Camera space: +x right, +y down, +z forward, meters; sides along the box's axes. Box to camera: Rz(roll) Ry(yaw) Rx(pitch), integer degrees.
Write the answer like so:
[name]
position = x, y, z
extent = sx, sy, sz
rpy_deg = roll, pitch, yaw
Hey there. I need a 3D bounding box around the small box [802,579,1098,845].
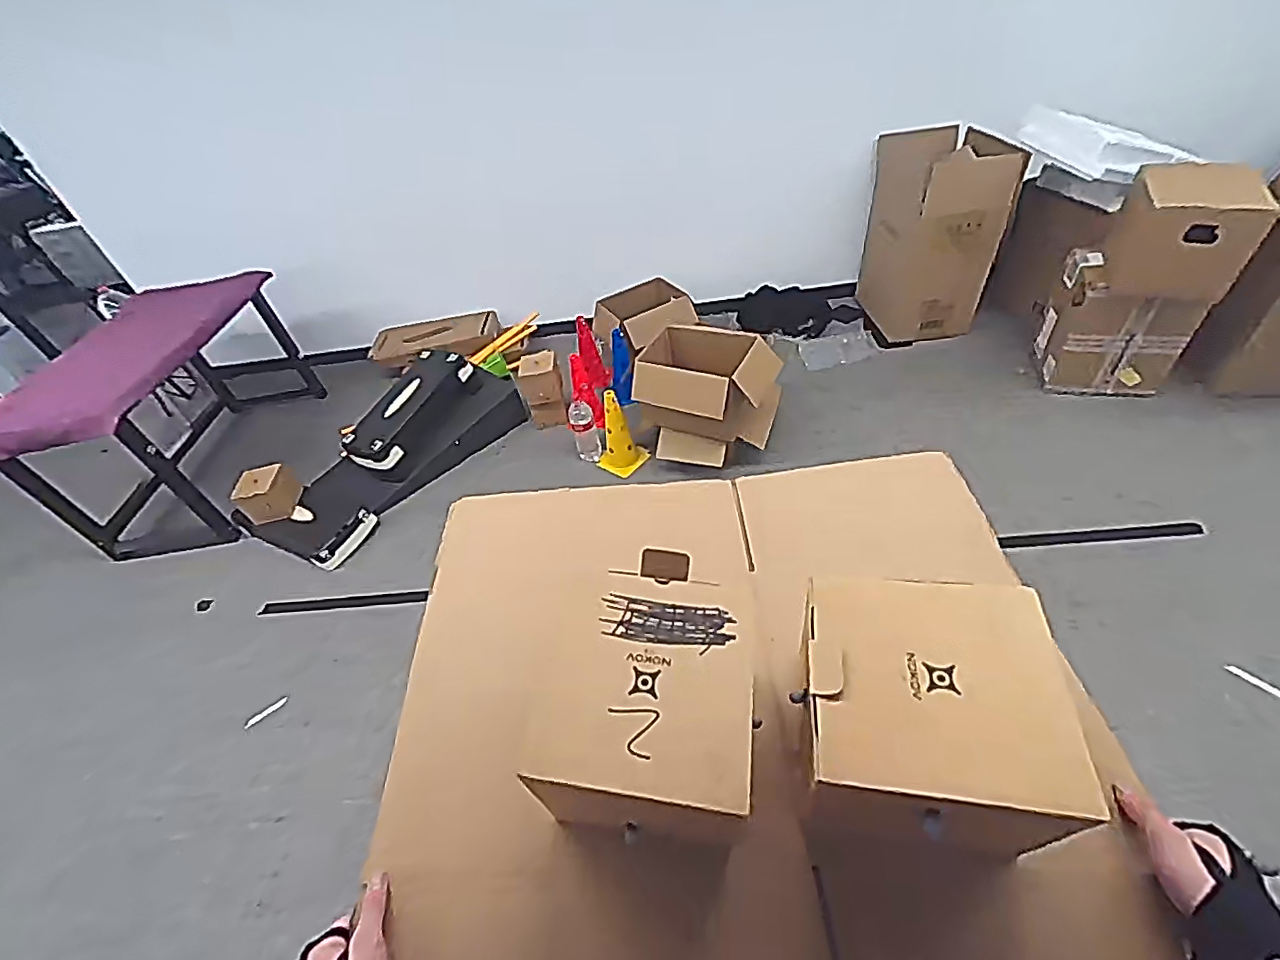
[small box]
position = 0.239, 0.205, 0.476
extent = 0.179, 0.176, 0.168
rpy_deg = 0, 50, 14
